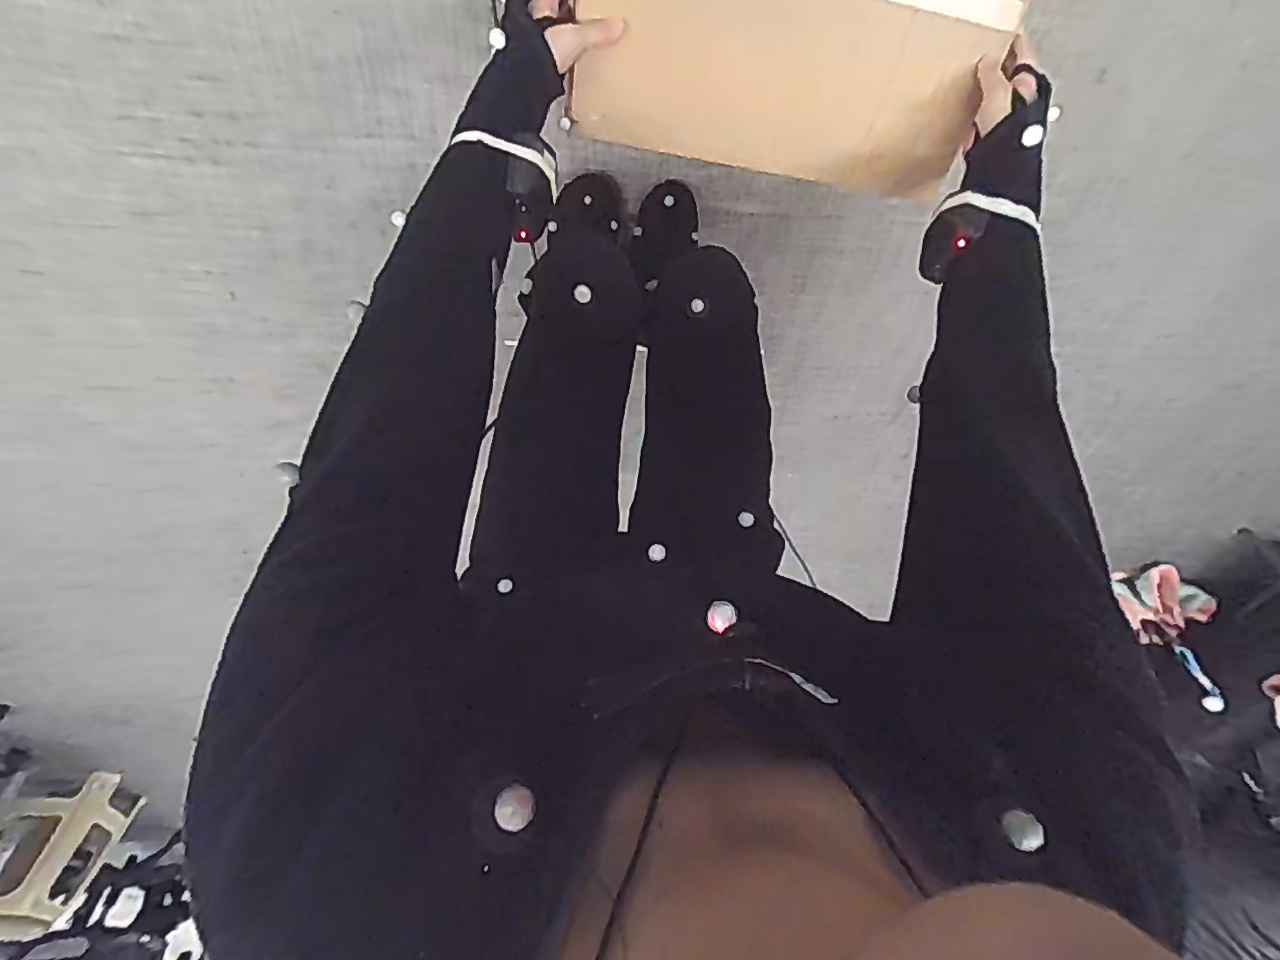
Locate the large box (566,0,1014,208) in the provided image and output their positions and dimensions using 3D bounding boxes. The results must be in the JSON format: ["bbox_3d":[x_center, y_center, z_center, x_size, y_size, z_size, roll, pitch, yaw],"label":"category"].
[{"bbox_3d":[0.136,-0.536,0.598,0.408,0.320,0.320,5,130,-9],"label":"large box"}]
